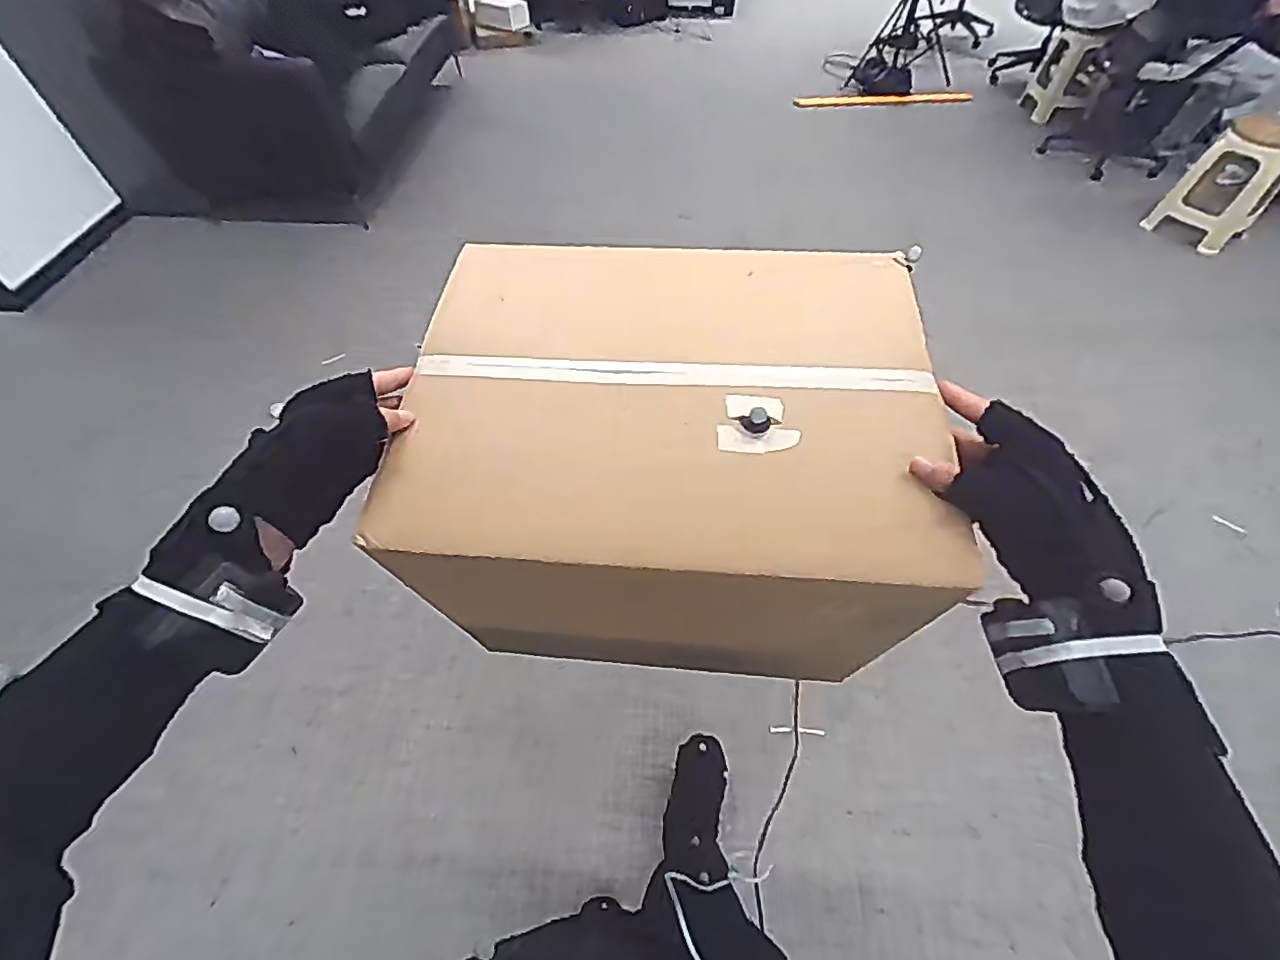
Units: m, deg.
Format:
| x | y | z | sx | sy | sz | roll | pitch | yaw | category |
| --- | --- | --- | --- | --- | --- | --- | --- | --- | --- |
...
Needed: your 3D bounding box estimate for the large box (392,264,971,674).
| x | y | z | sx | sy | sz | roll | pitch | yaw | category |
| --- | --- | --- | --- | --- | --- | --- | --- | --- | --- |
| 0.035 | 0.004 | 0.568 | 0.408 | 0.320 | 0.320 | 4 | 60 | 4 | large box |
